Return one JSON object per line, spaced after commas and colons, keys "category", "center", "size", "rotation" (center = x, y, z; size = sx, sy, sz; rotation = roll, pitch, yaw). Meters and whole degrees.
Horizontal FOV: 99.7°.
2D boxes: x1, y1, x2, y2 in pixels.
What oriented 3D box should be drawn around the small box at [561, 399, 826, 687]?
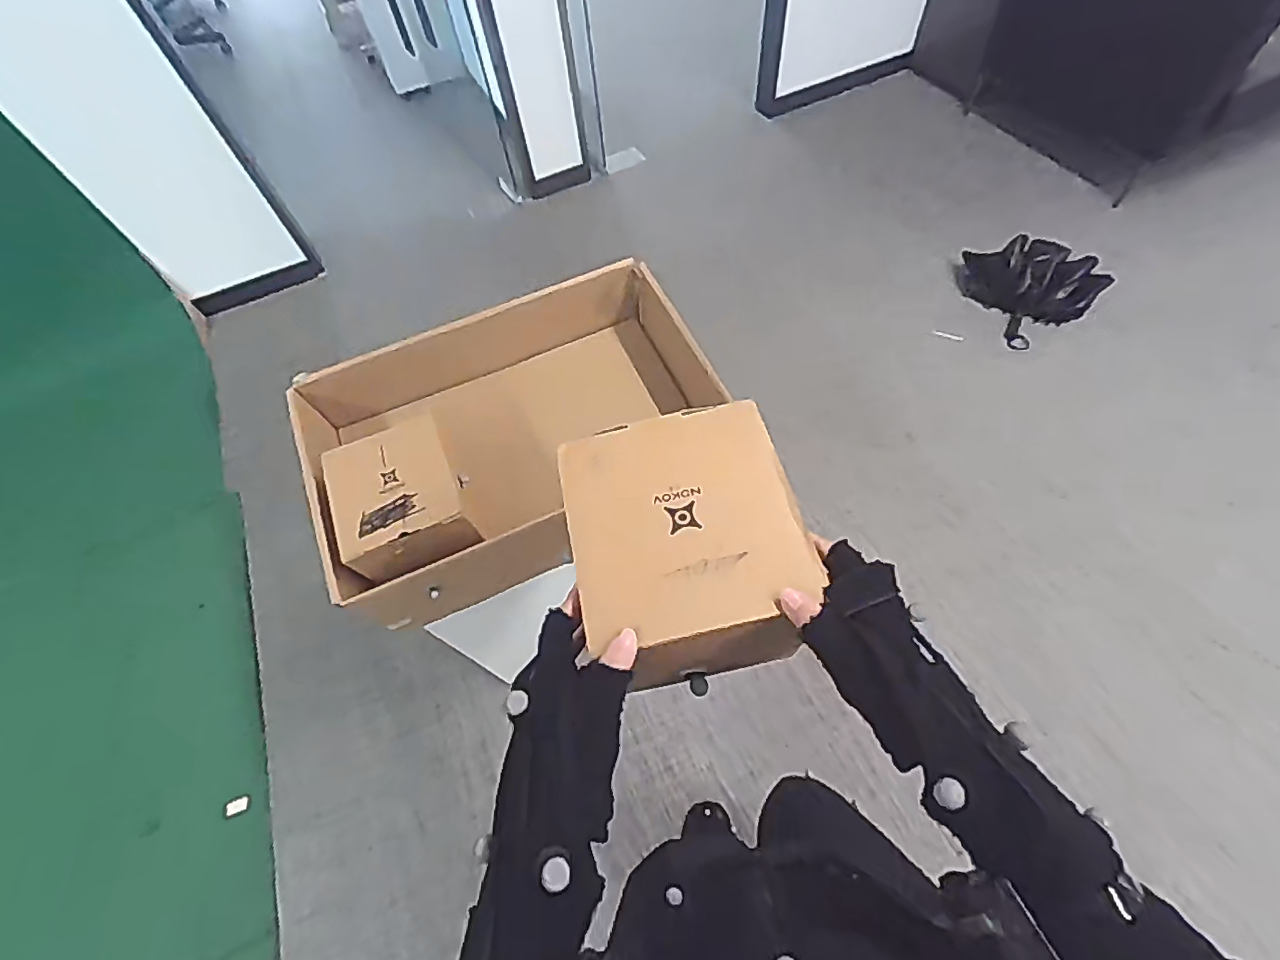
{"category": "small box", "center": [0.035, 0.061, 0.468], "size": [0.168, 0.176, 0.179], "rotation": [-12, 60, -2]}
